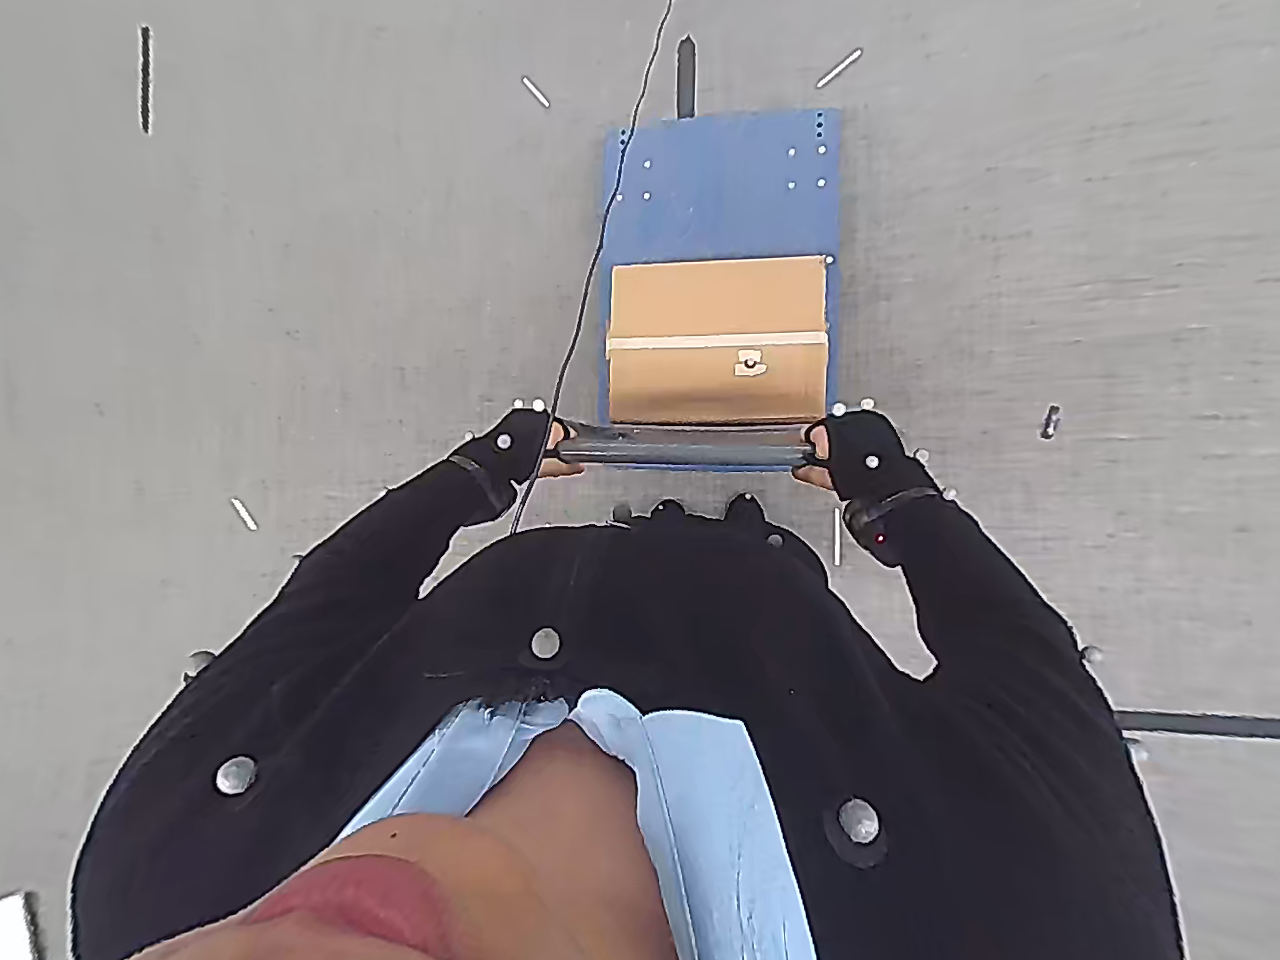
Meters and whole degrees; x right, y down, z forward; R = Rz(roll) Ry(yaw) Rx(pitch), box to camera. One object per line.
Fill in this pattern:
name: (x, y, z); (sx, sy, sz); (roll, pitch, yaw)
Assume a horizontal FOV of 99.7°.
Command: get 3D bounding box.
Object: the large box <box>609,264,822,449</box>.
large box: (0.157, -0.239, 1.166); (0.408, 0.320, 0.320); (1, 88, 8)
